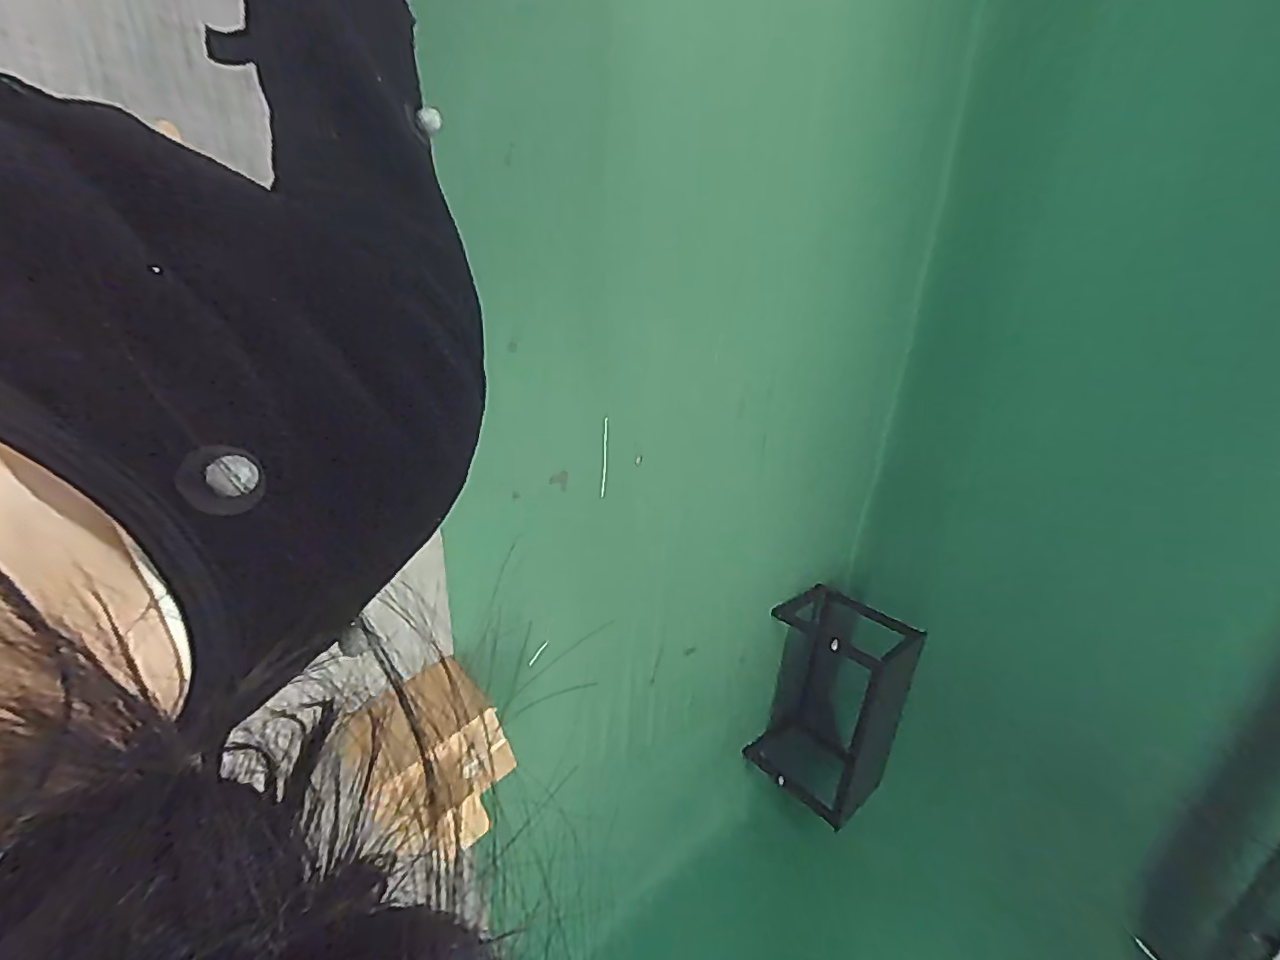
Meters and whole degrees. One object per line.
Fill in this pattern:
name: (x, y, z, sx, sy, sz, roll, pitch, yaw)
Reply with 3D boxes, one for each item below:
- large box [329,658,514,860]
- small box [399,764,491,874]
large box: (-0.682, 0.861, 1.716, 0.408, 0.320, 0.320, -31, 128, -33)
small box: (-0.549, 0.939, 1.519, 0.168, 0.176, 0.179, -29, 125, -32)
